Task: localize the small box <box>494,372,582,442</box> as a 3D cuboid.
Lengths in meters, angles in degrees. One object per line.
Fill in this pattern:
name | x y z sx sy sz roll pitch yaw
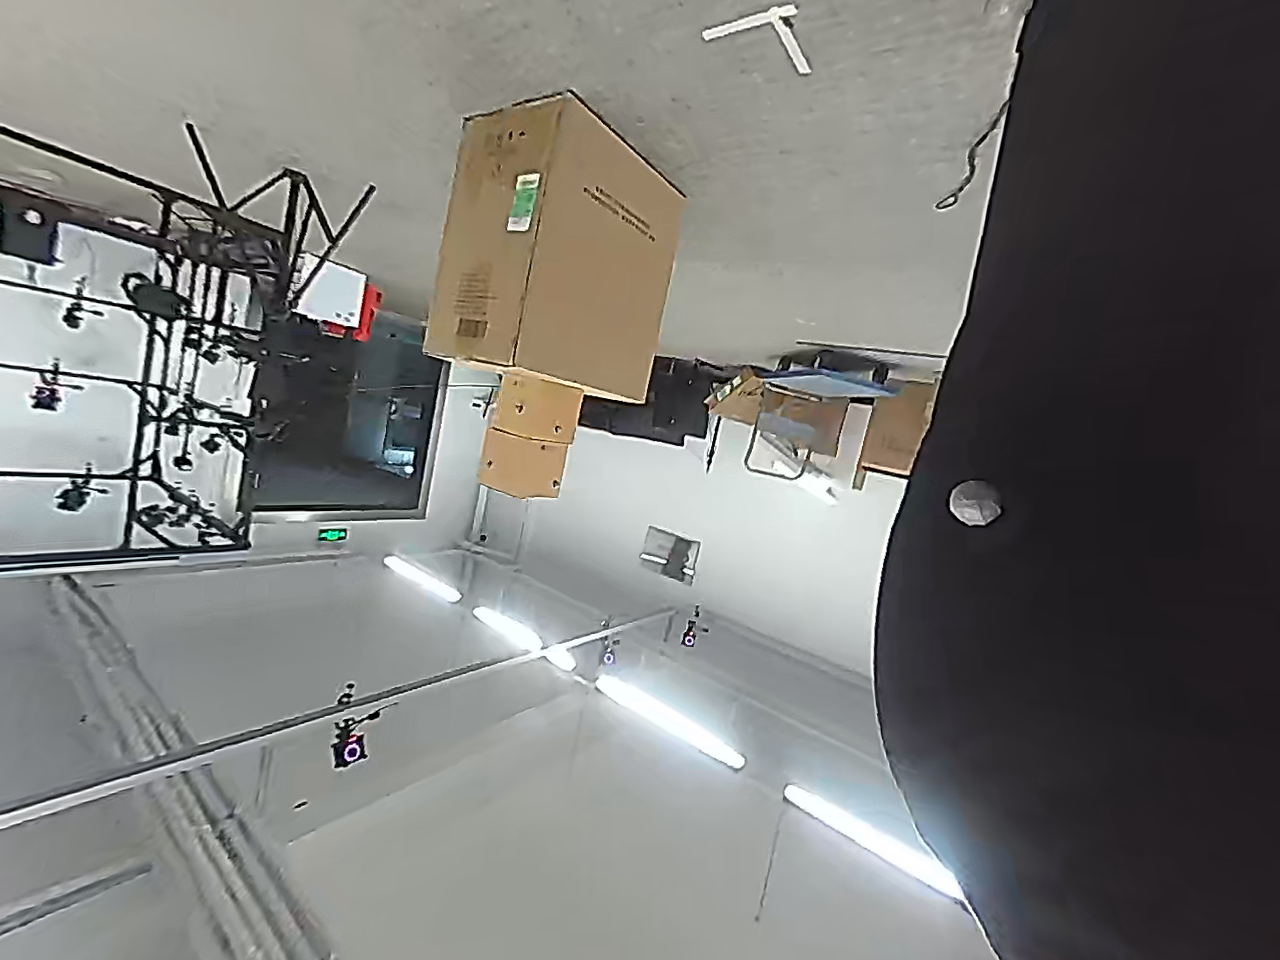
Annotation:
small box | -0.292 -0.212 1.560 0.168 0.176 0.179 16 -172 35
